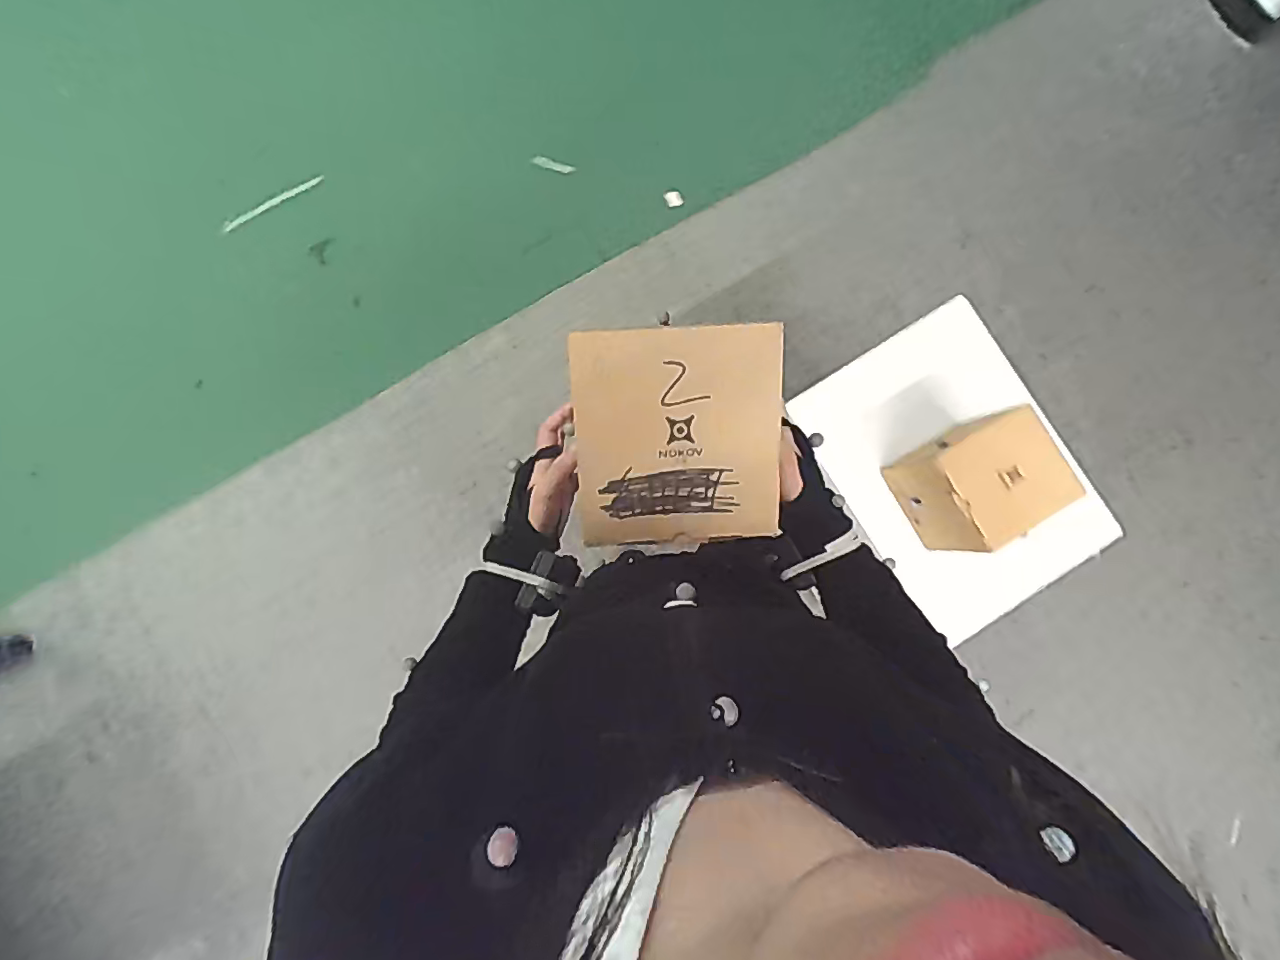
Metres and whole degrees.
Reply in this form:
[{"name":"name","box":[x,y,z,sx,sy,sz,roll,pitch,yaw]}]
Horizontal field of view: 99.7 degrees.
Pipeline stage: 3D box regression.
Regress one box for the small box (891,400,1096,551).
[{"name":"small box","box":[0.545,-0.002,0.860,0.179,0.176,0.168,-30,86,-5]}]
